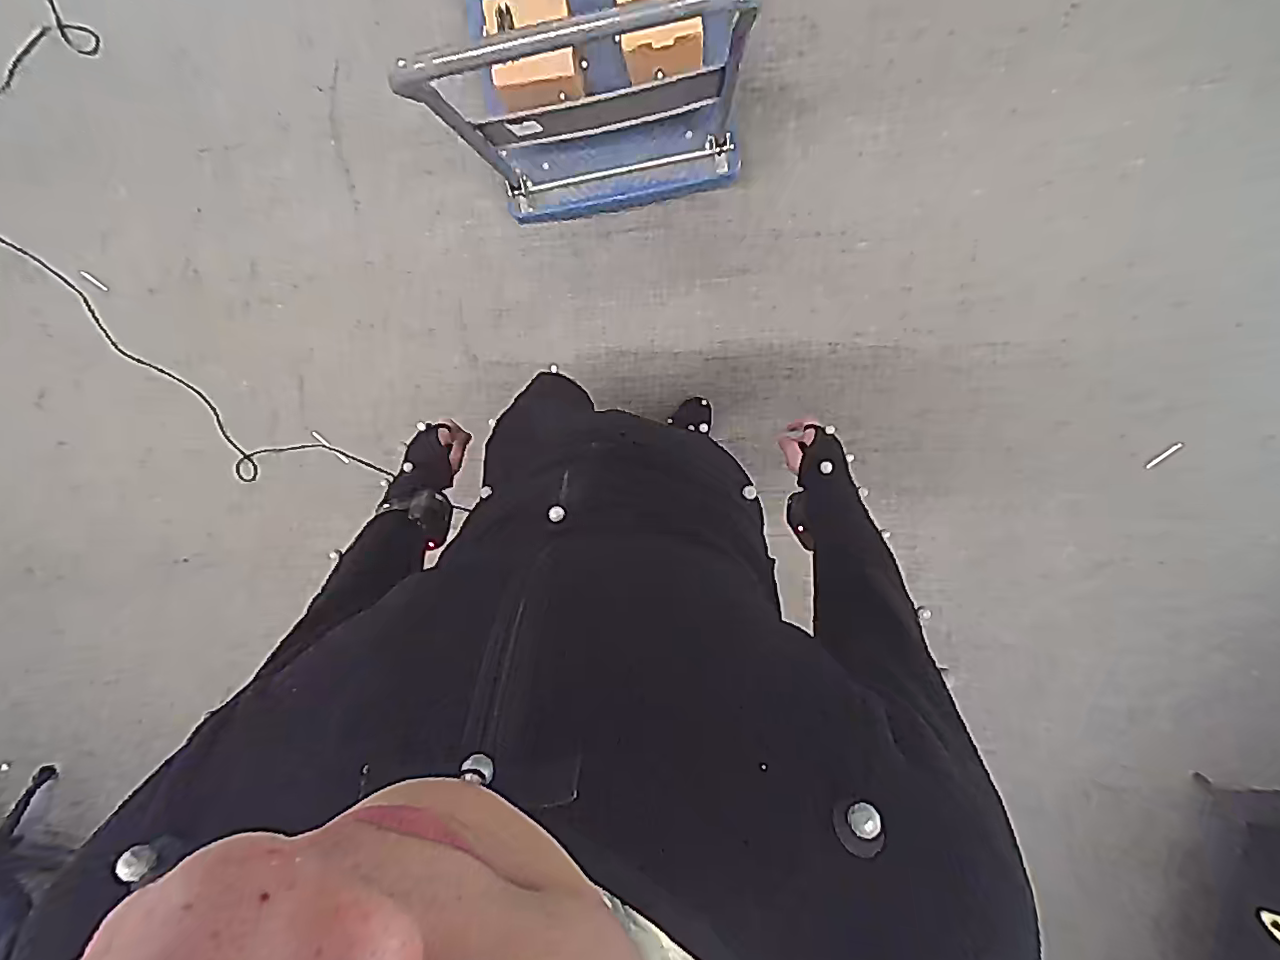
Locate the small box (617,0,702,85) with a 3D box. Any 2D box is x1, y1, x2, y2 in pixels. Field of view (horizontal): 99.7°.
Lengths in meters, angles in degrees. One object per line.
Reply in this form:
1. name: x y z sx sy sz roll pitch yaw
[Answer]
1. small box: 0.039 -1.001 1.163 0.168 0.176 0.179 -7 102 7
